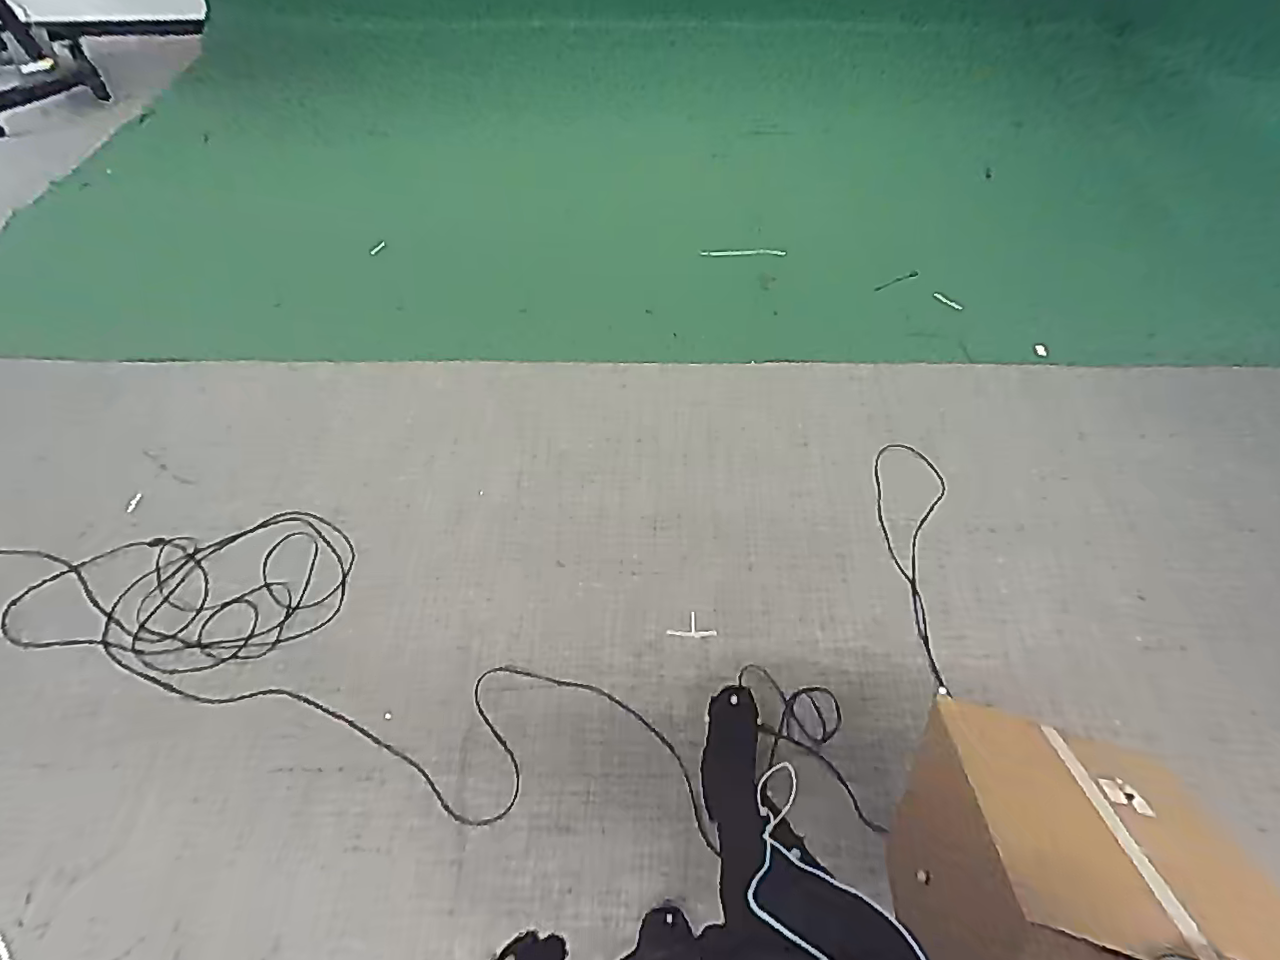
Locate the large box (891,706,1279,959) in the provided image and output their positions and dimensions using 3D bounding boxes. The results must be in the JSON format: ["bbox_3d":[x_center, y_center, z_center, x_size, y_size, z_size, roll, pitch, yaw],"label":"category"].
[{"bbox_3d":[0.547,0.577,0.695,0.320,0.408,0.320,14,102,15],"label":"large box"}]
